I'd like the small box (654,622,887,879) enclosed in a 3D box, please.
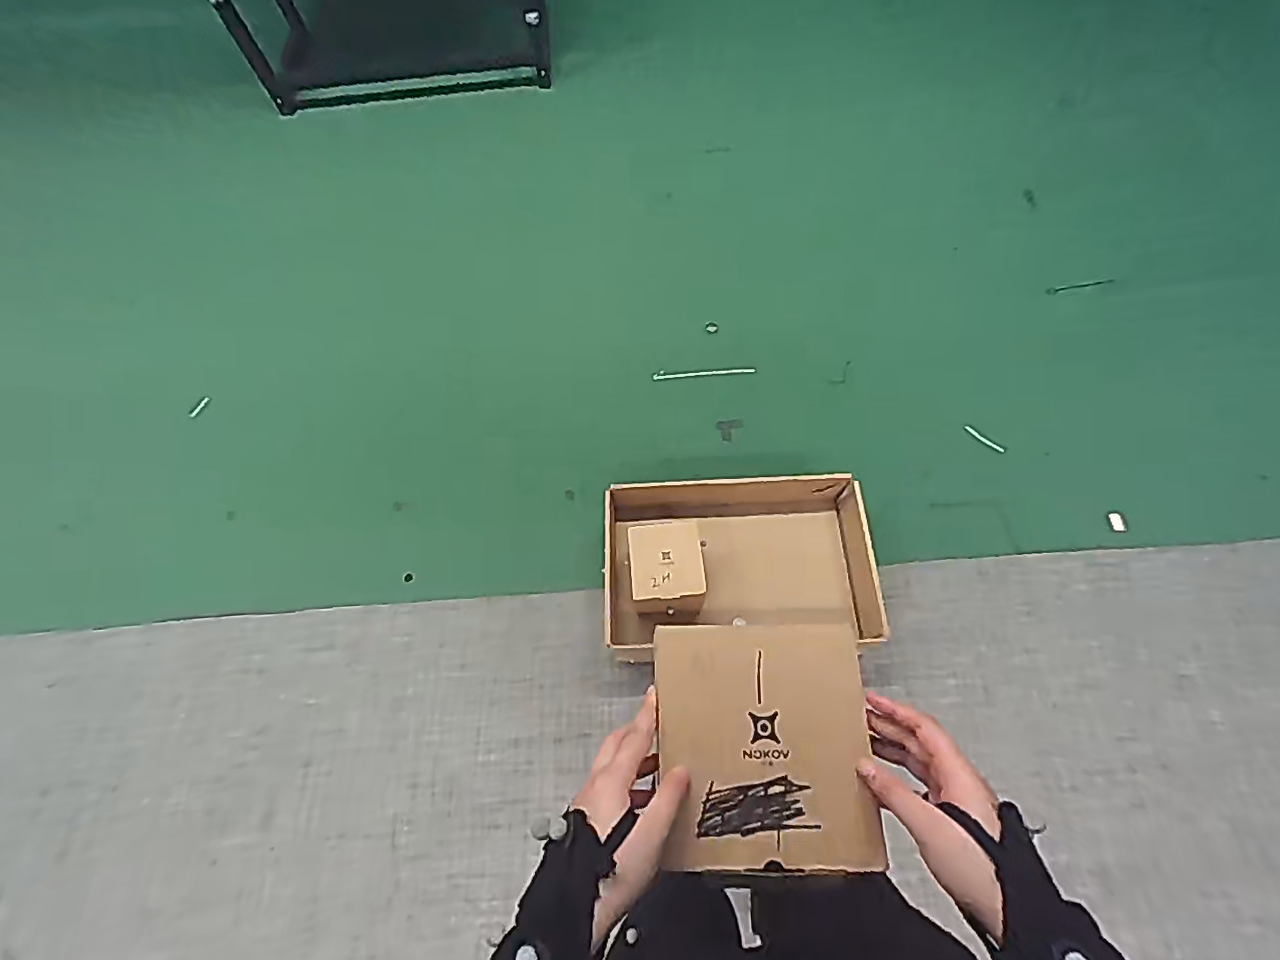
[{"bbox_3d":[0.099,0.228,0.489,0.168,0.176,0.179,1,68,1],"label":"small box"}]

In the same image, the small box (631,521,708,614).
[{"bbox_3d":[0.067,0.213,1.290,0.168,0.176,0.179,-5,66,1],"label":"small box"}]
